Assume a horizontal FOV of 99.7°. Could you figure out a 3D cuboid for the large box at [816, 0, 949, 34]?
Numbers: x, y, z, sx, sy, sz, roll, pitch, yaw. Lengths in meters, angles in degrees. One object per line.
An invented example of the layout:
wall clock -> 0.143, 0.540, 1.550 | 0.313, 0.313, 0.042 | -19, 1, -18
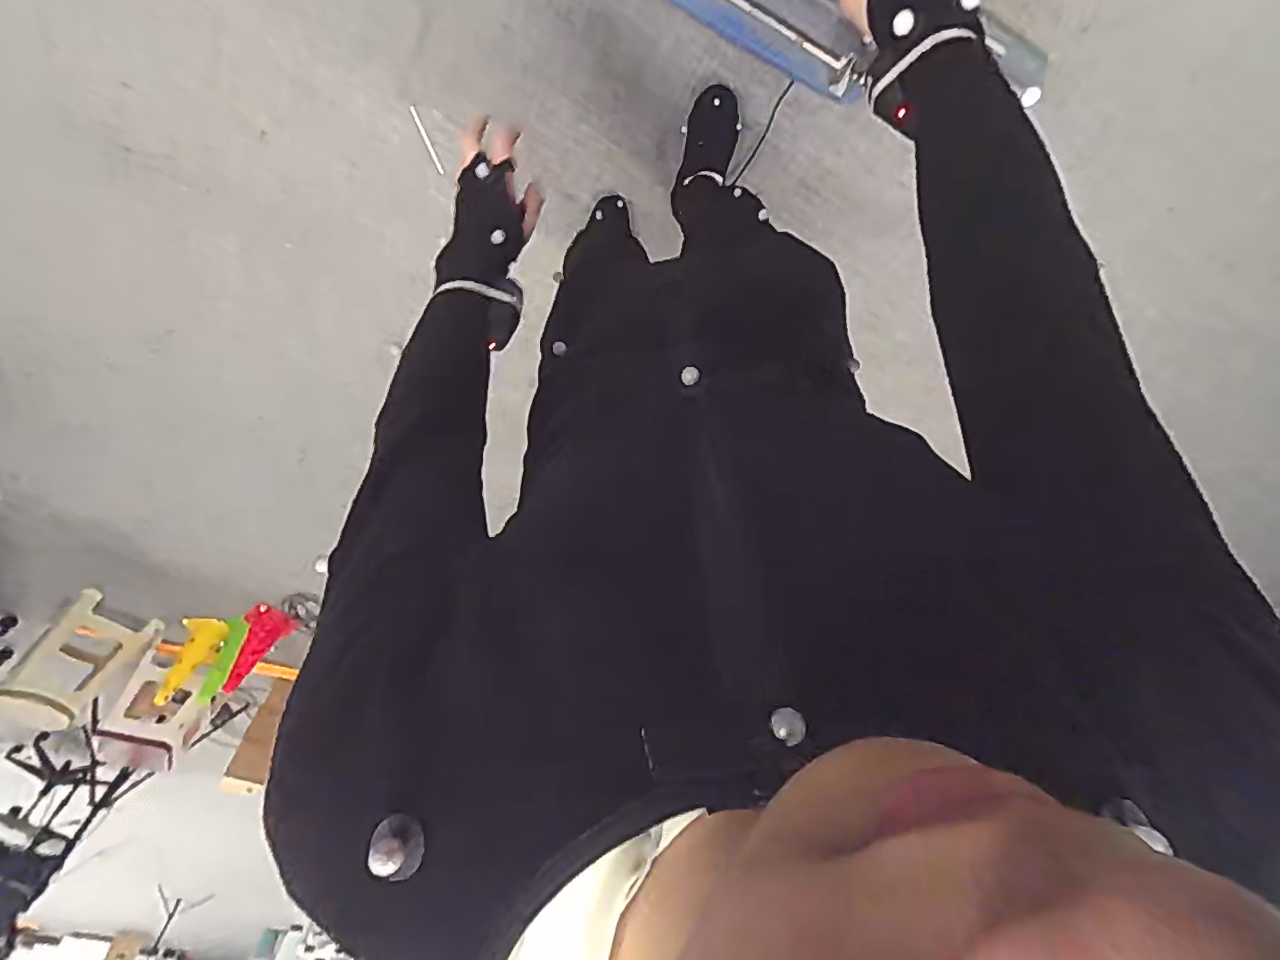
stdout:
large box -> 0.356, -0.922, 0.734 | 0.320, 0.320, 0.408 | 20, 126, -13
